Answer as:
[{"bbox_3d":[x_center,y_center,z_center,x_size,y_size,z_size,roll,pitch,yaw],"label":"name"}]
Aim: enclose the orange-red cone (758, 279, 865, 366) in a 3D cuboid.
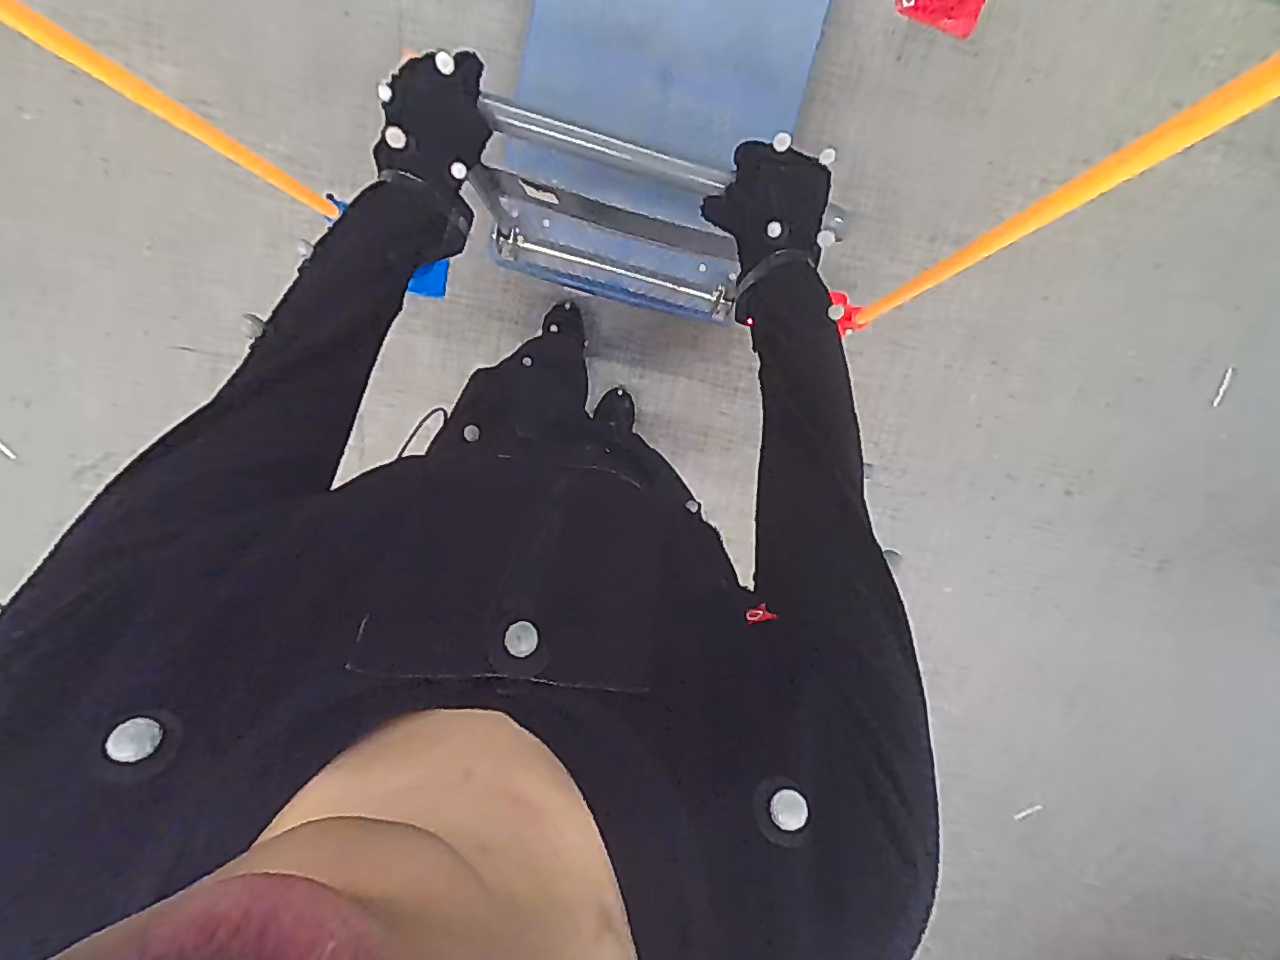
[{"bbox_3d":[0.423,-0.373,1.243,0.199,0.360,0.198,11,102,-3],"label":"orange-red cone"}]
